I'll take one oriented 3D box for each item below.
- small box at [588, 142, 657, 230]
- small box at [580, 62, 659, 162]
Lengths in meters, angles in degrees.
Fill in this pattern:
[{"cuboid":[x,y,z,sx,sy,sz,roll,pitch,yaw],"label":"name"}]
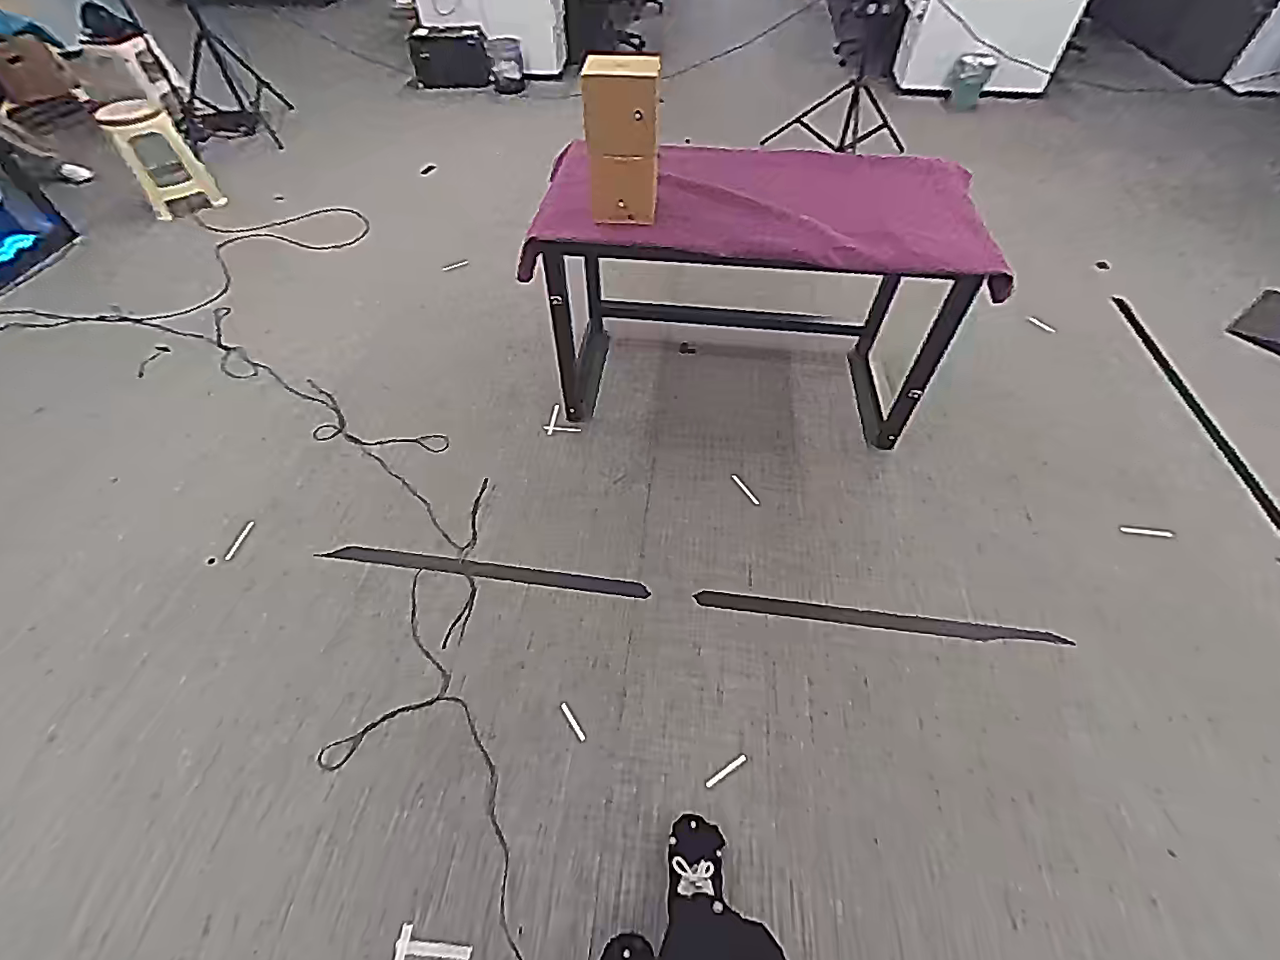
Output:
[{"cuboid":[-0.044,-0.801,1.460,0.168,0.176,0.179,3,52,3],"label":"small box"},{"cuboid":[-0.046,-0.903,1.334,0.179,0.176,0.168,2,50,2],"label":"small box"}]
